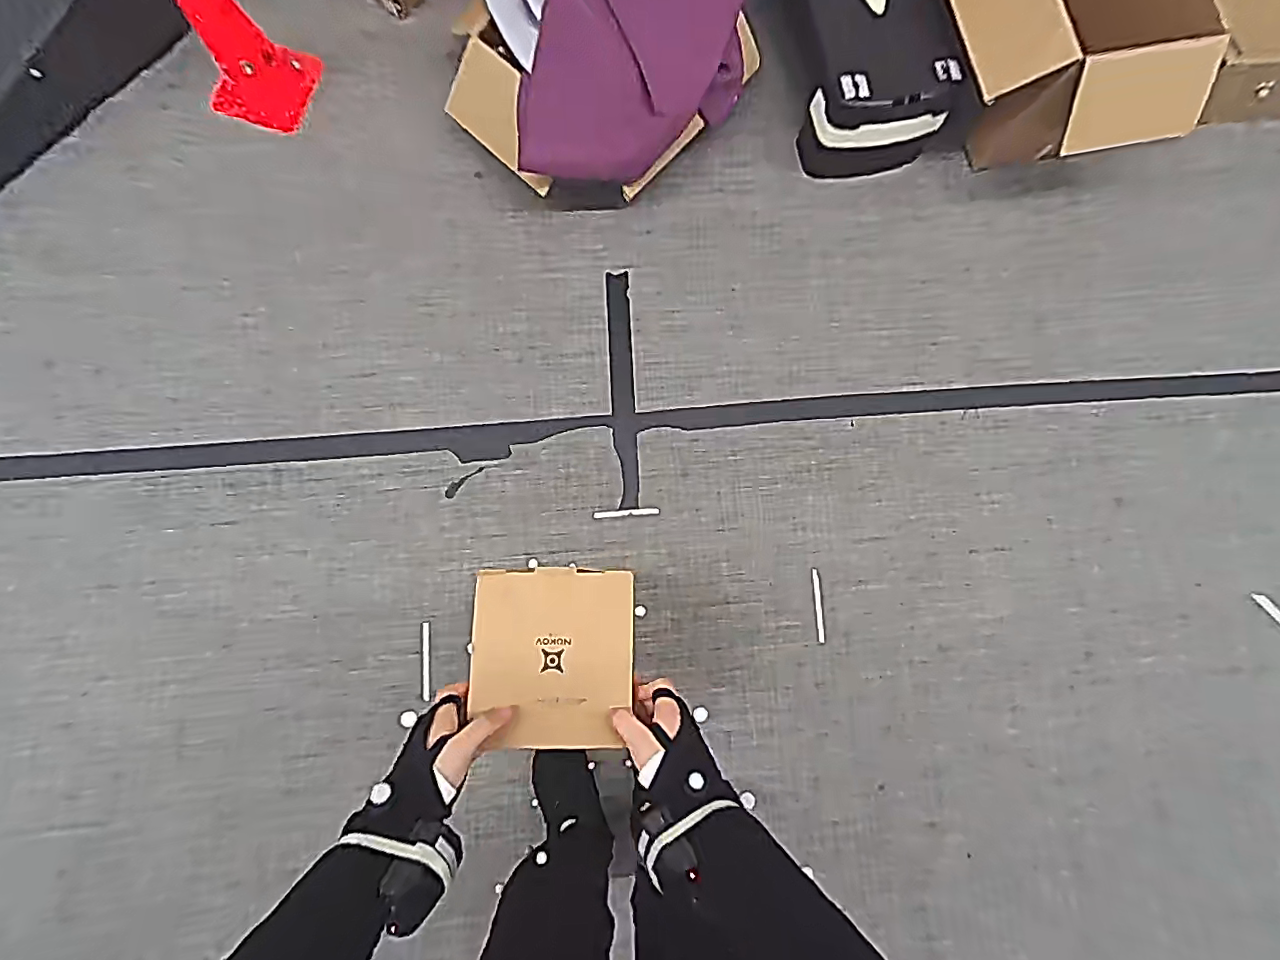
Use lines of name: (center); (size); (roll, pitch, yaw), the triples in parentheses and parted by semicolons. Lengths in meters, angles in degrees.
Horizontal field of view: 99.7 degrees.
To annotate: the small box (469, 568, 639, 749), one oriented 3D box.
small box: (-0.087, 0.196, 0.625); (0.168, 0.176, 0.179); (1, 78, -1)
